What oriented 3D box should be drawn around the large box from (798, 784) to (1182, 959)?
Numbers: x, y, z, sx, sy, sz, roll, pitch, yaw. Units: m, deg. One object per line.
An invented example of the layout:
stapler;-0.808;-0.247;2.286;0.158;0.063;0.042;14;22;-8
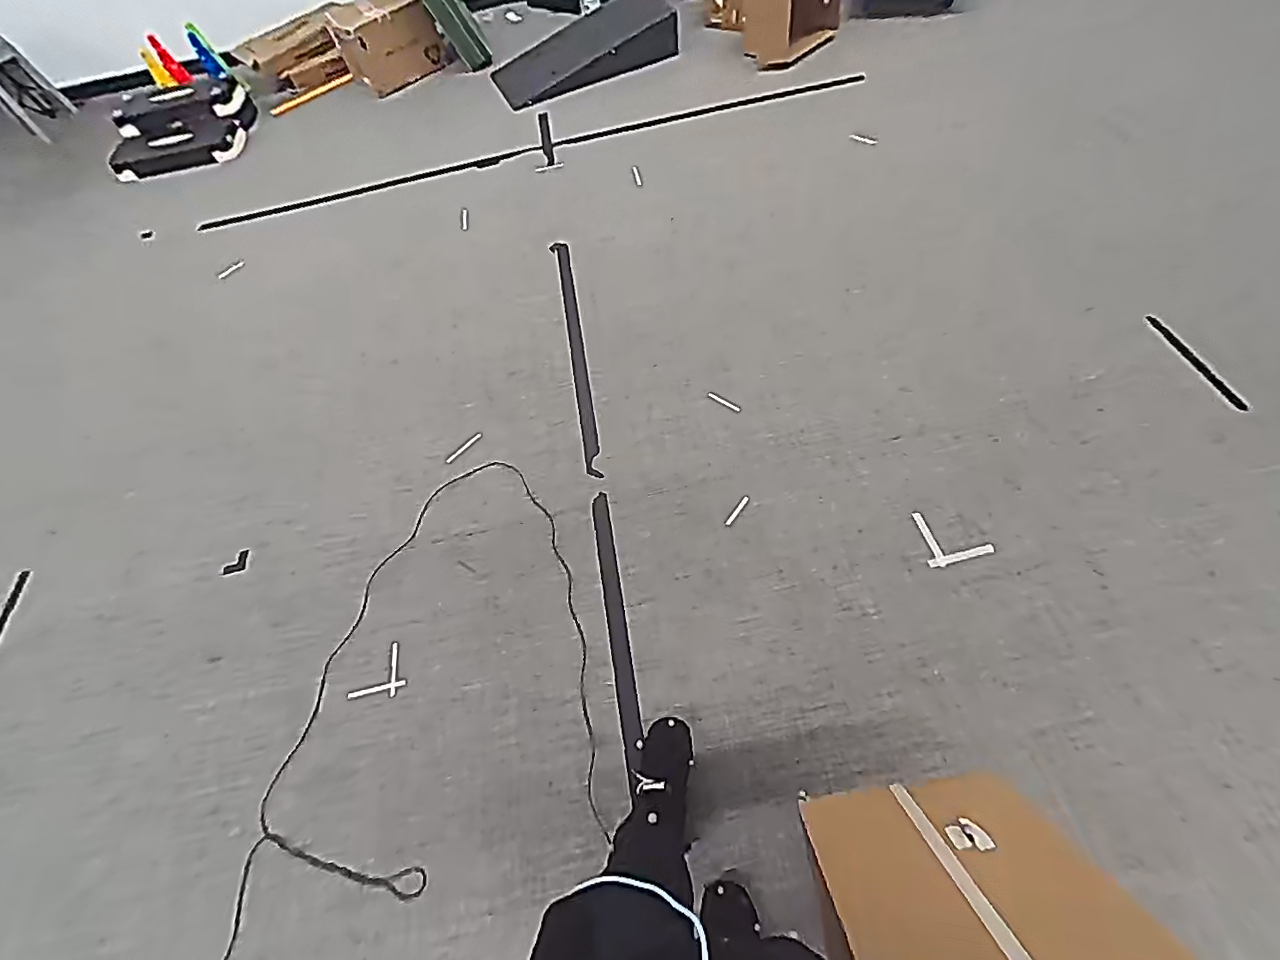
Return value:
large box;0.422;0.653;0.663;0.320;0.408;0.320;-9;88;3
